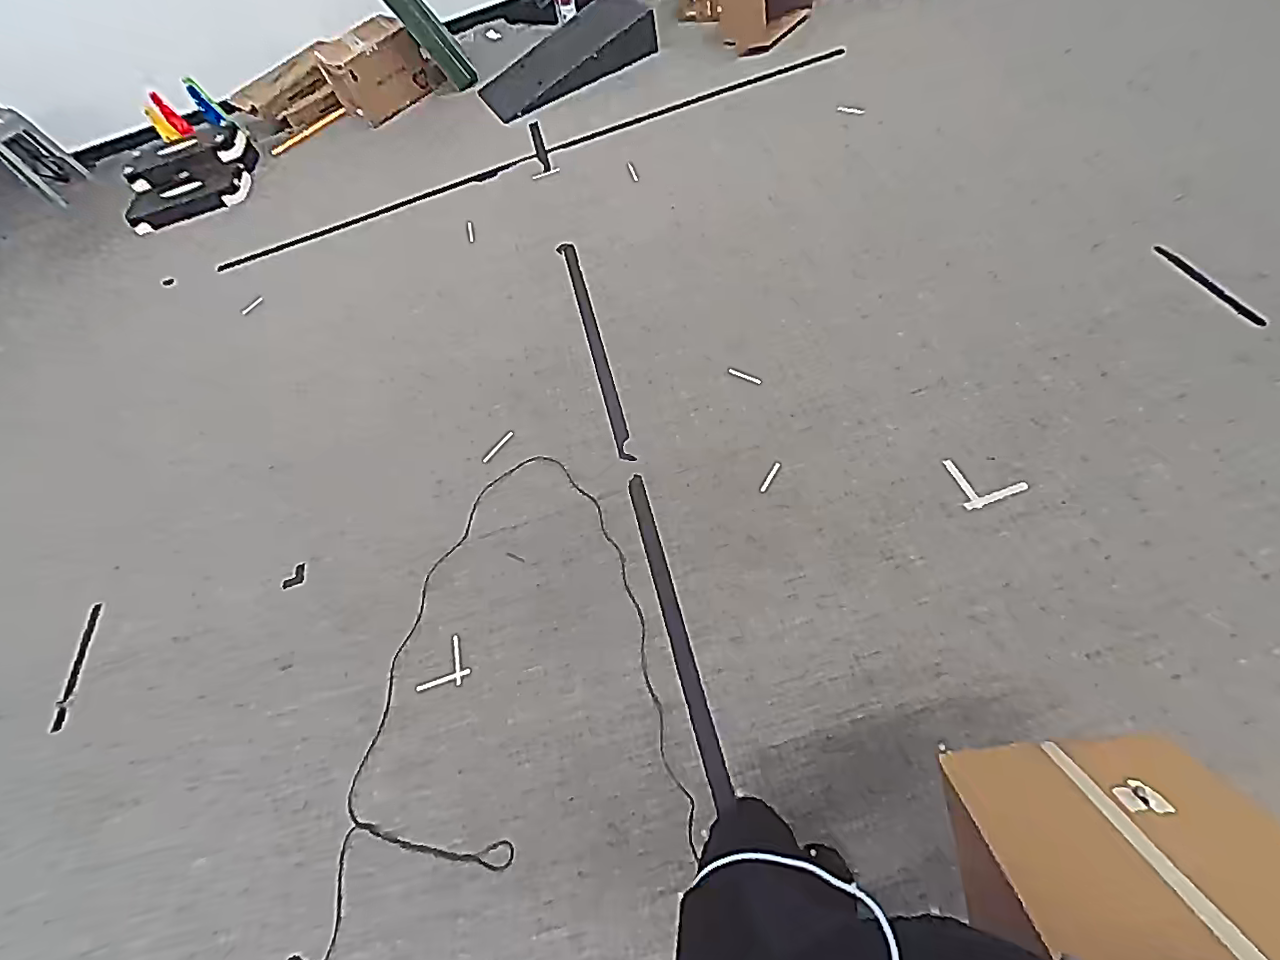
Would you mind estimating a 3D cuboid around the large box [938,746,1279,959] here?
[{"bbox_3d":[0.618,0.588,0.645,0.320,0.408,0.320,-11,93,11],"label":"large box"}]
